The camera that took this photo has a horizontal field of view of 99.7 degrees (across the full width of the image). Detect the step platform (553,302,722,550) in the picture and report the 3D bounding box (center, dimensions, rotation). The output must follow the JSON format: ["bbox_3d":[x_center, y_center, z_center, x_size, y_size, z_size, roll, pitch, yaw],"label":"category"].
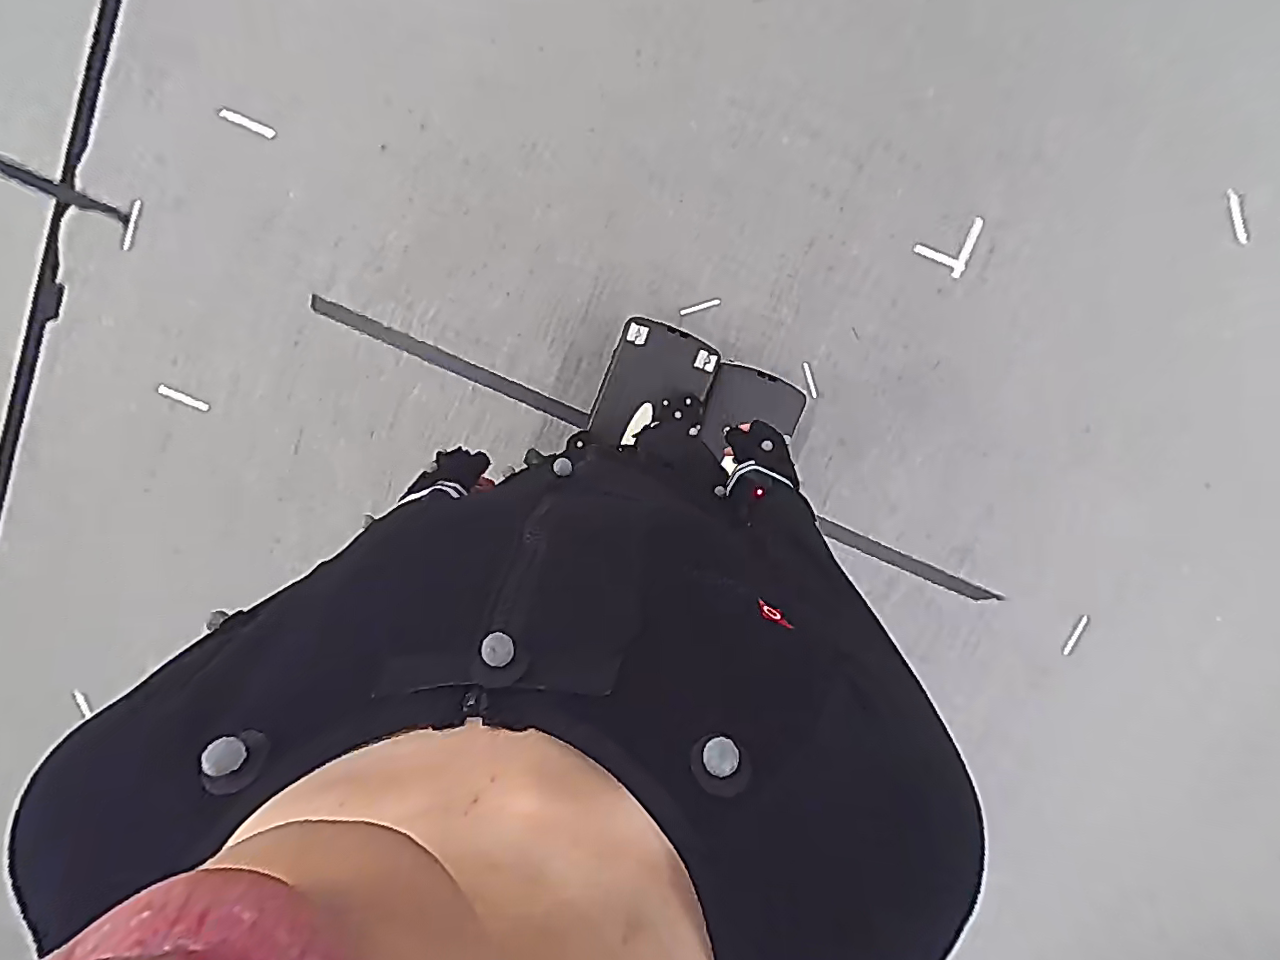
[{"bbox_3d":[-0.013,-0.146,1.551,0.286,0.204,0.684,21,97,-4],"label":"step platform"}]
